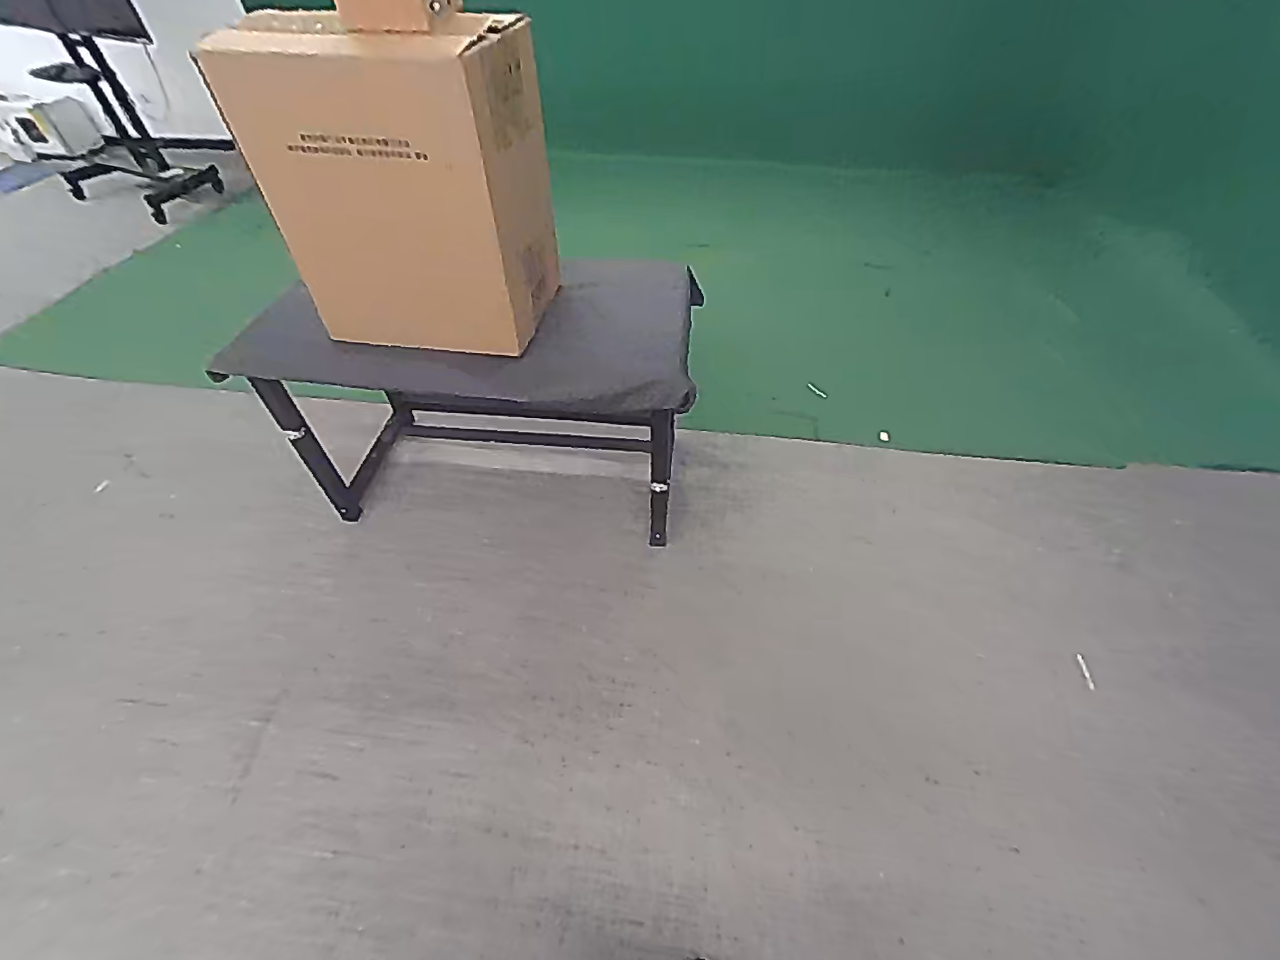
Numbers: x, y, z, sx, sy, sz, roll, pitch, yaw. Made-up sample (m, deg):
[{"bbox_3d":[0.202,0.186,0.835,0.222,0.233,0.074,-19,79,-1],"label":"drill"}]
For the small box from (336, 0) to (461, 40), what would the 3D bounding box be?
[{"bbox_3d":[-0.454,-0.934,0.991,0.179,0.176,0.168,7,55,8],"label":"small box"}]
